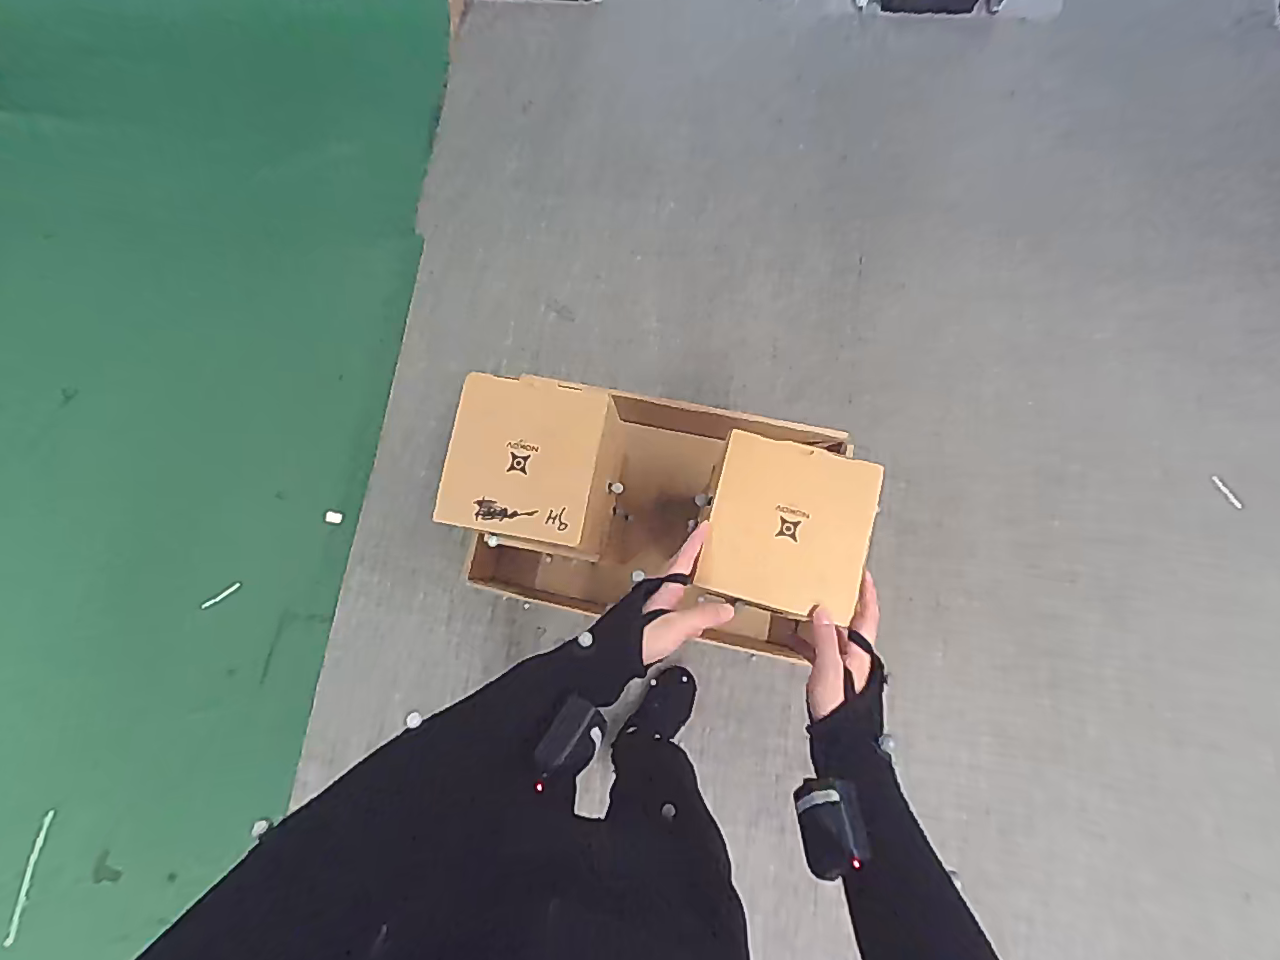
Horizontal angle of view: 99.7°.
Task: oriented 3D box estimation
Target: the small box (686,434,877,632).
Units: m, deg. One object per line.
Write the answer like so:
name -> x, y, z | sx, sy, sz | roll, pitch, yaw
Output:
small box -> 0.154, 0.067, 0.639 | 0.168, 0.176, 0.179 | 14, 79, 6

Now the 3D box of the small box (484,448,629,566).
small box -> -0.115, 0.031, 0.828 | 0.168, 0.176, 0.179 | 11, 81, 5

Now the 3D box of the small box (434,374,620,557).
small box -> -0.123, -0.008, 0.669 | 0.168, 0.176, 0.179 | 9, 80, 6
